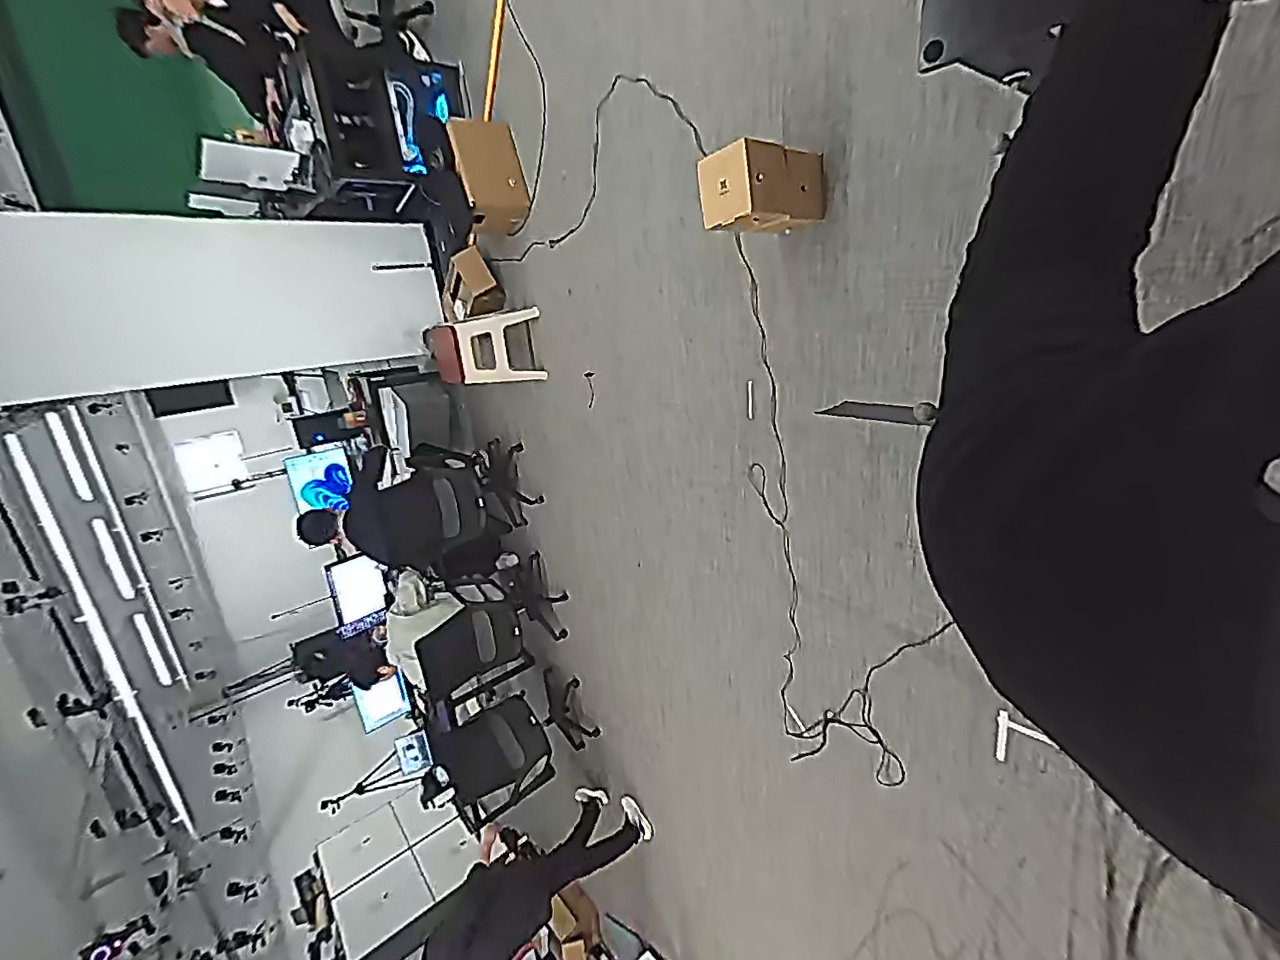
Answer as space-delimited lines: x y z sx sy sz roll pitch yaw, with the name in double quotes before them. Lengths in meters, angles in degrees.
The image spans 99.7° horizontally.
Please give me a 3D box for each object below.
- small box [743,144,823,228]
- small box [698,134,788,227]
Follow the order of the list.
"small box" 0.404 -0.828 1.542 0.168 0.176 0.179 11 115 50
"small box" 0.279 -0.791 1.446 0.168 0.176 0.179 7 110 50
